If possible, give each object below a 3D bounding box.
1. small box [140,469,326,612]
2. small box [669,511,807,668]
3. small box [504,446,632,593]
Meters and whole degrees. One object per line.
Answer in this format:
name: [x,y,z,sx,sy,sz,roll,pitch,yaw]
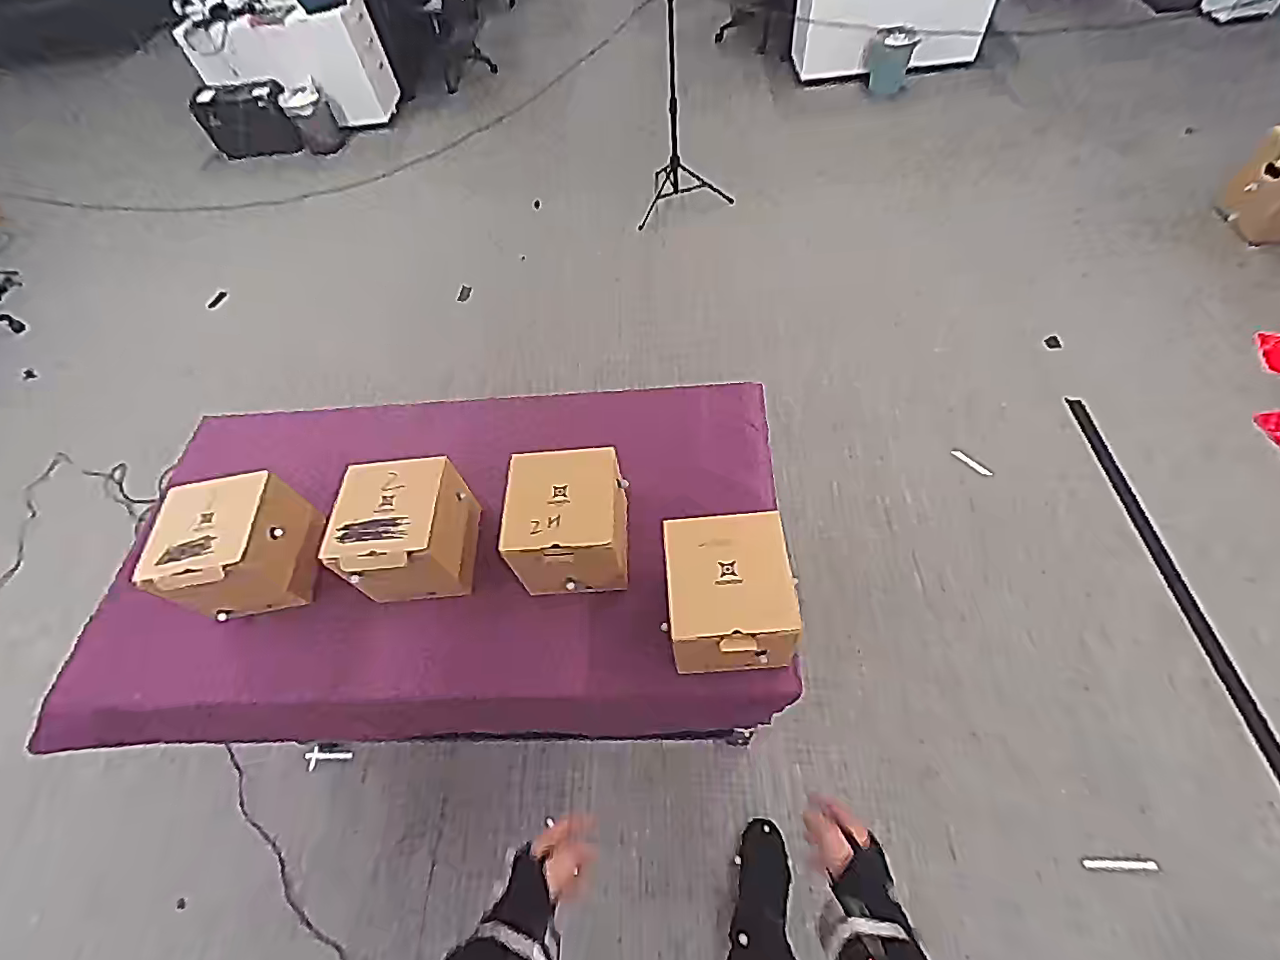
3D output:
small box: [-0.660,0.110,0.906,0.168,0.176,0.179,-10,56,-1]
small box: [0.132,0.165,0.779,0.168,0.176,0.179,-4,56,4]
small box: [-0.105,0.067,0.870,0.168,0.176,0.179,-4,57,5]
